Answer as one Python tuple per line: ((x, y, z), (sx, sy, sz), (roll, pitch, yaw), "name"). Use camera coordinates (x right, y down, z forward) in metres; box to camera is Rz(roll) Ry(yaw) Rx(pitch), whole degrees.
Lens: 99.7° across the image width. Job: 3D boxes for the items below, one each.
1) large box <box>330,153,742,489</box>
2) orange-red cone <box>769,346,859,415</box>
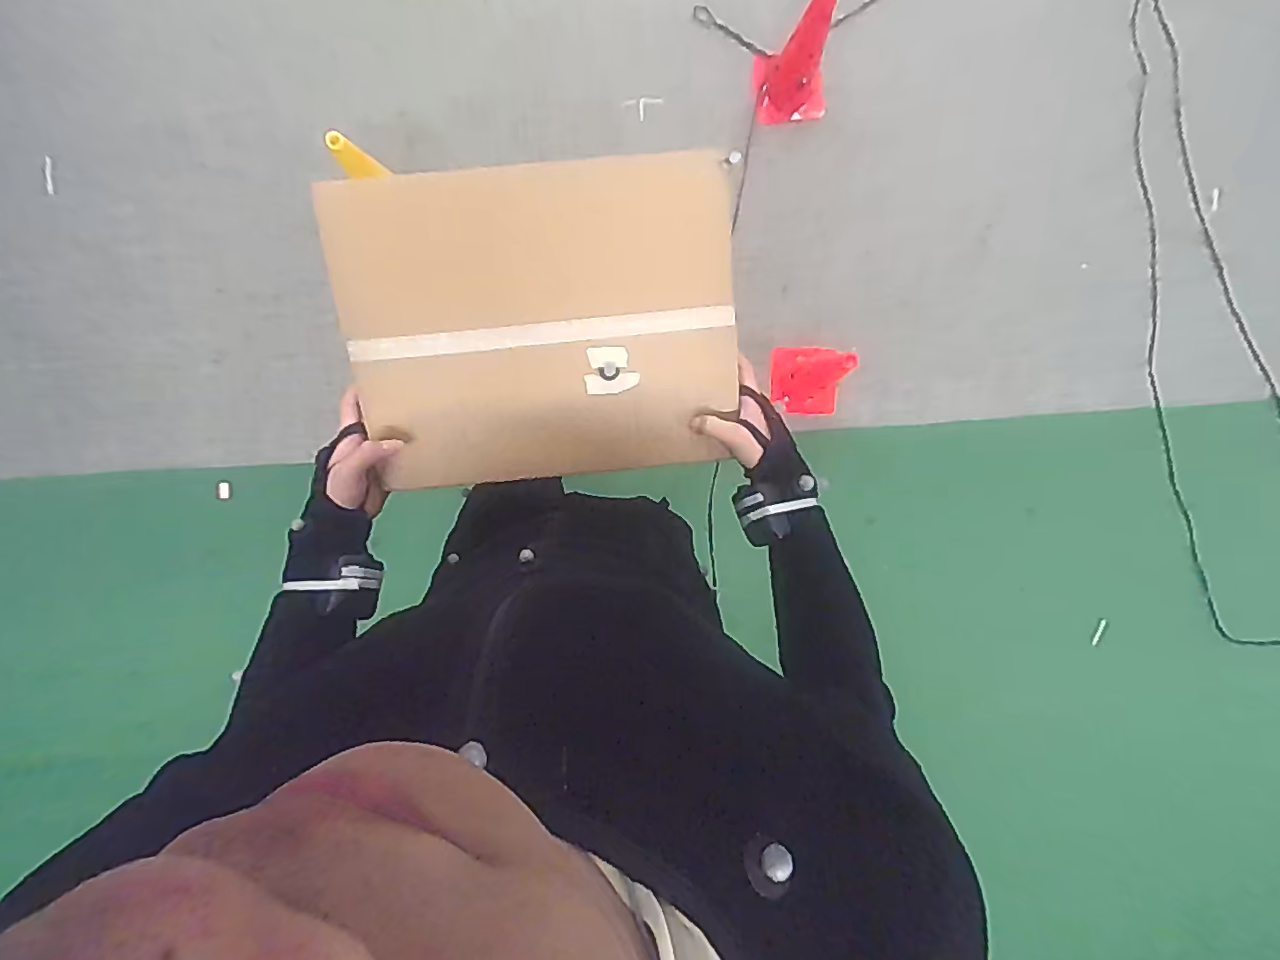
((-0.104, -0.197, 0.719), (0.408, 0.320, 0.320), (-6, 107, -2), "large box")
((0.498, -0.289, 1.453), (0.199, 0.360, 0.198), (4, 93, -3), "orange-red cone")
